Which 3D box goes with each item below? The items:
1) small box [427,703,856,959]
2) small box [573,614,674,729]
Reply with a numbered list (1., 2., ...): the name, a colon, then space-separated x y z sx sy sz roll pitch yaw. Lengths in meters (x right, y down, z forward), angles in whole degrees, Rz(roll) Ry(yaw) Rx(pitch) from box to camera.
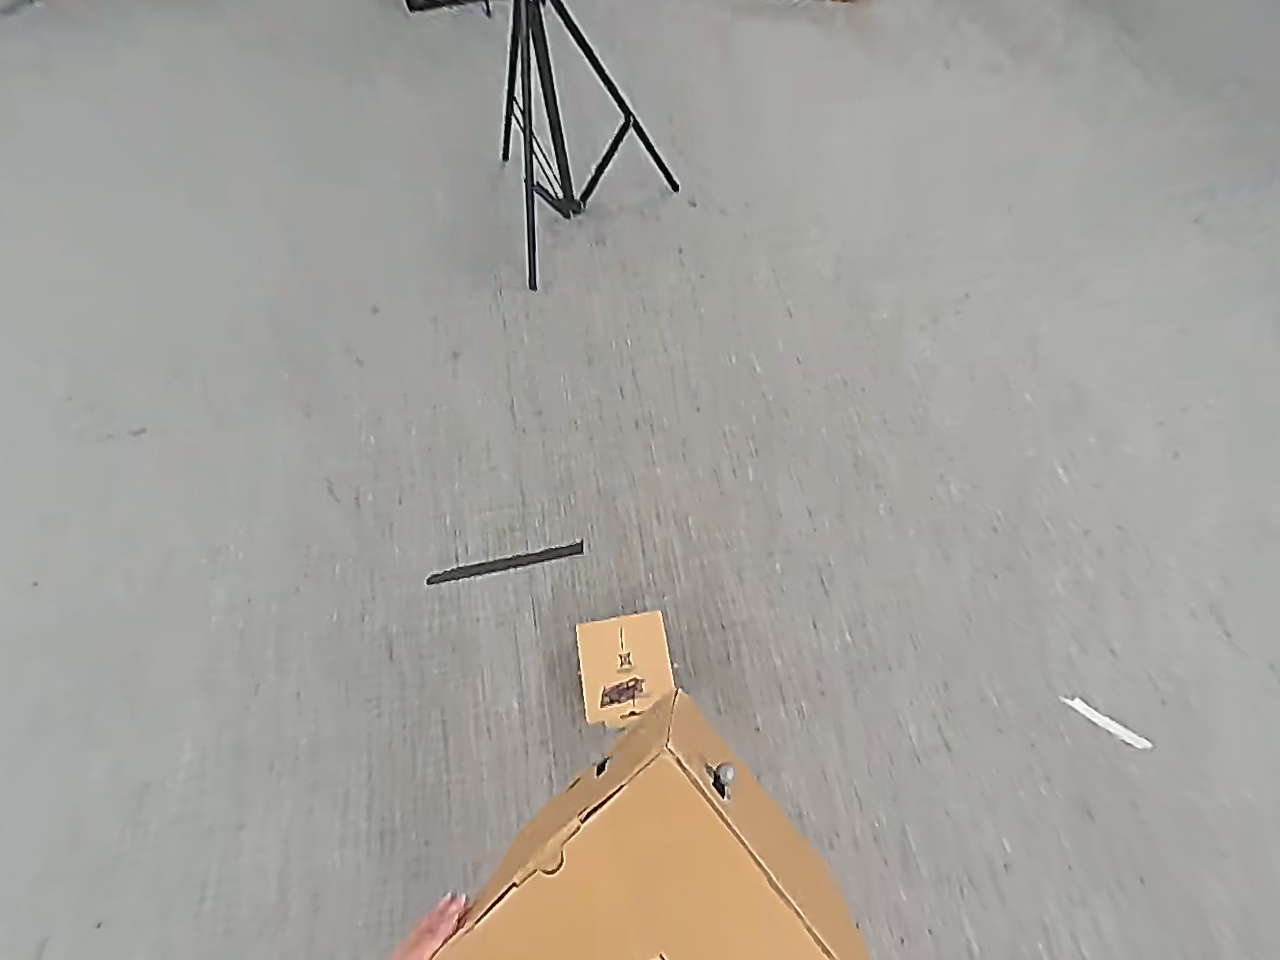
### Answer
1. small box: 0.014 0.268 0.330 0.168 0.176 0.179 -42 77 -3
2. small box: -0.027 0.373 1.045 0.168 0.176 0.179 -10 64 -2
